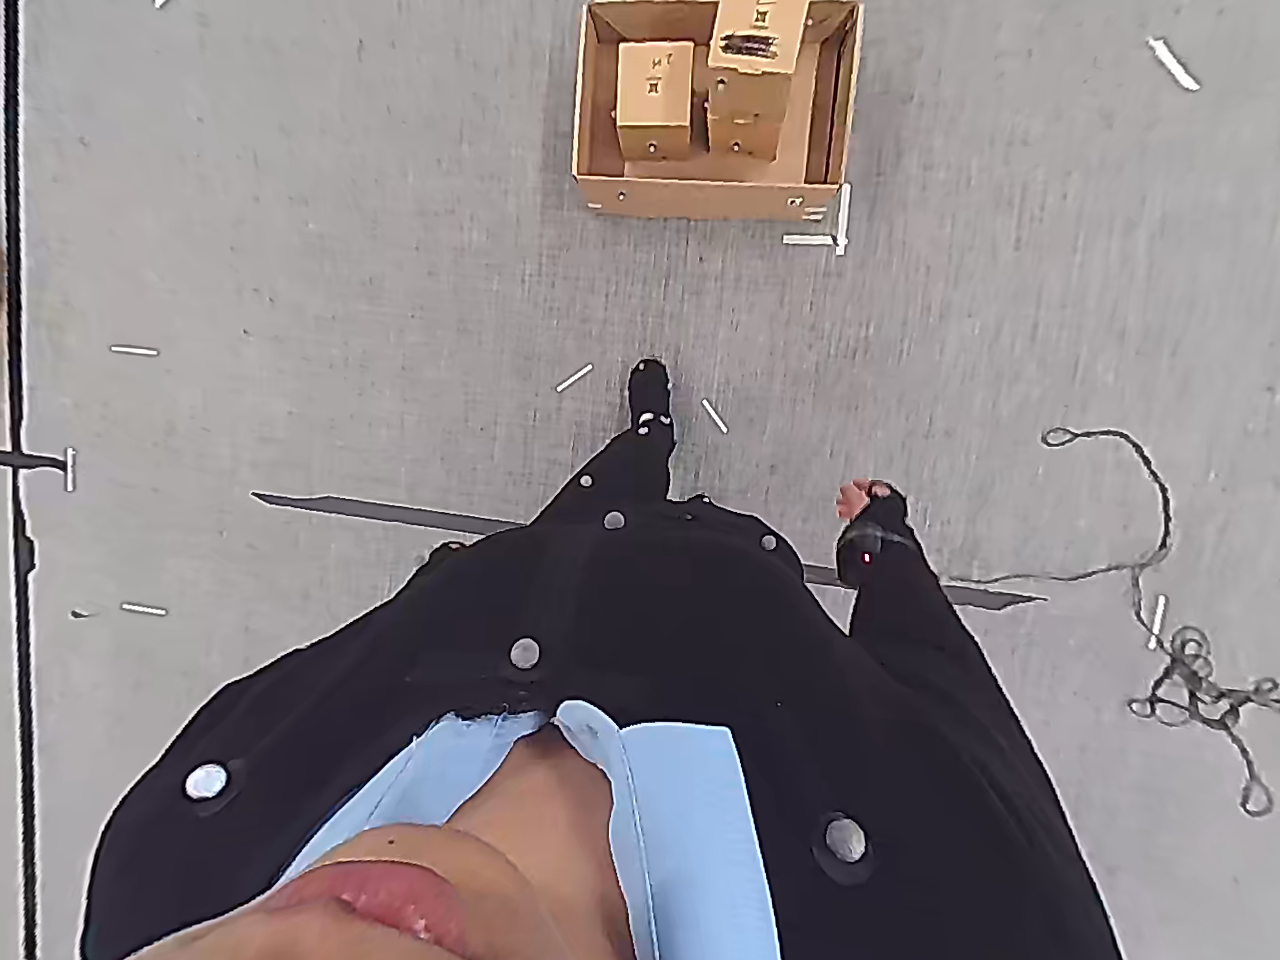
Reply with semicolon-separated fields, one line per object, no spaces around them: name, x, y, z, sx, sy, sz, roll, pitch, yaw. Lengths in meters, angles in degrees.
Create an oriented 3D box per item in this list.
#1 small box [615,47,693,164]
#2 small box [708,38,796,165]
small box;0.037;-0.871;1.274;0.168;0.176;0.179;3;95;3
small box;0.253;-0.869;1.254;0.168;0.176;0.179;10;97;7
